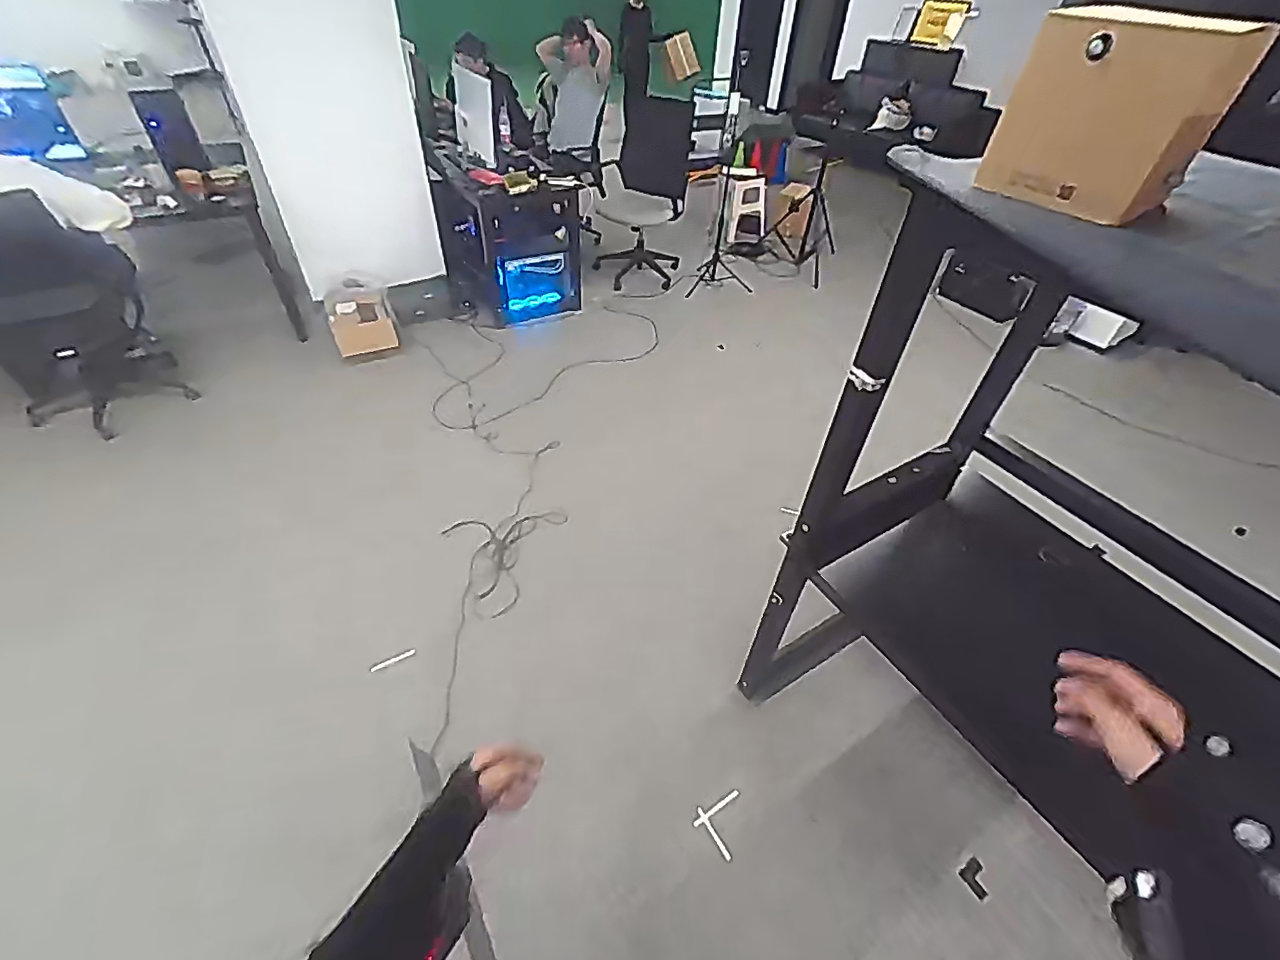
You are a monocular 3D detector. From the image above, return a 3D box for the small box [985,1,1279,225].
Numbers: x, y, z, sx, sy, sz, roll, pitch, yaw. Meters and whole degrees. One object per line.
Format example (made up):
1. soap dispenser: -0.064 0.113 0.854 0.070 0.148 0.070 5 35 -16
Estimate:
1. small box: 0.529 -0.406 0.598 0.179 0.176 0.168 -28 53 -28
